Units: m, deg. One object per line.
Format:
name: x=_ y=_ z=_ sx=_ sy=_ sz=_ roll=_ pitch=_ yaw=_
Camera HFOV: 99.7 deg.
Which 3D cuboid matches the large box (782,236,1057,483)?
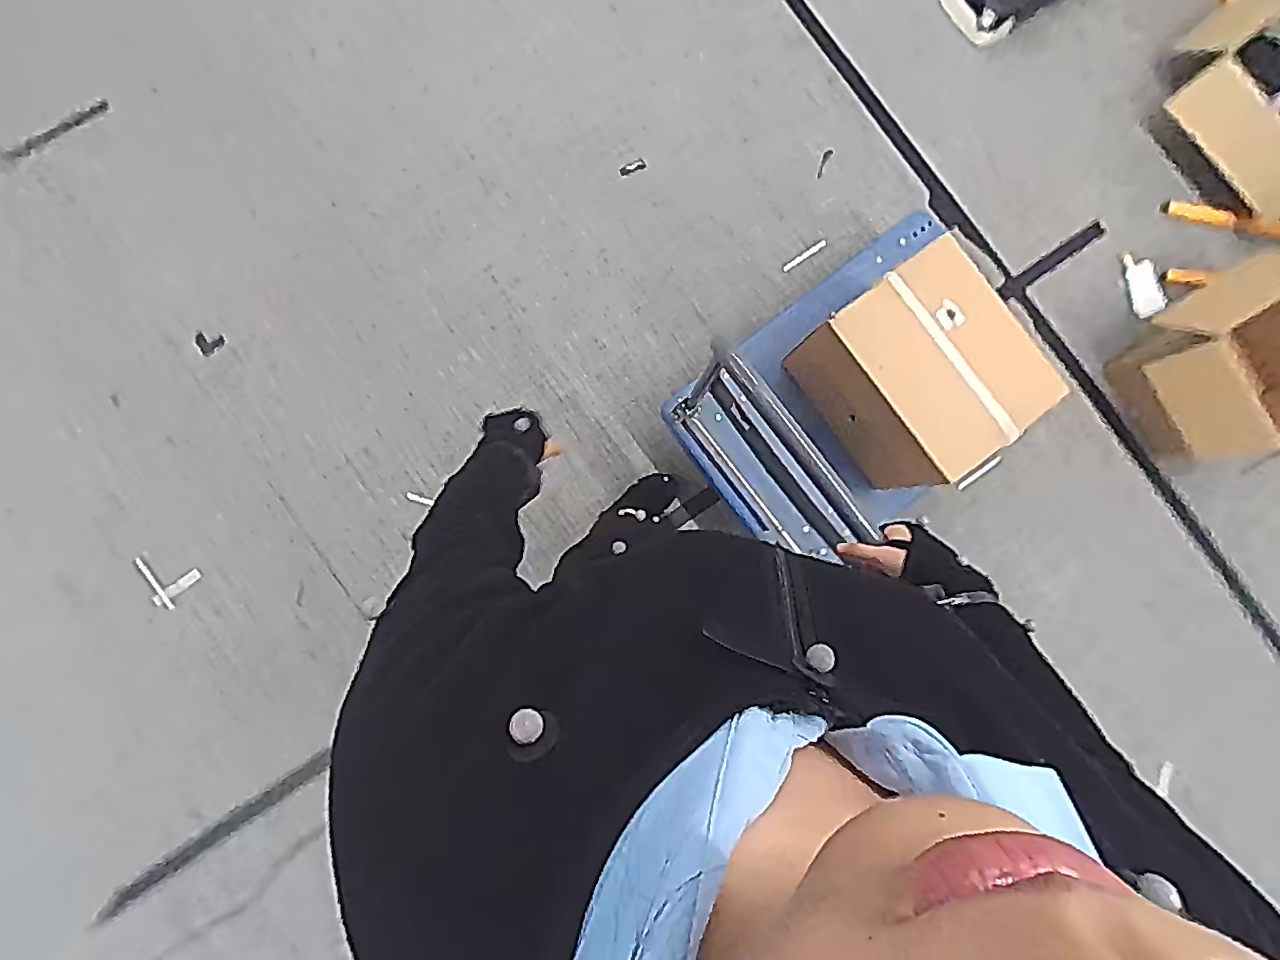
large box: x=0.601 y=-0.245 z=1.236 sx=0.320 sy=0.320 sz=0.408 roll=-37 pitch=88 yaw=-4
